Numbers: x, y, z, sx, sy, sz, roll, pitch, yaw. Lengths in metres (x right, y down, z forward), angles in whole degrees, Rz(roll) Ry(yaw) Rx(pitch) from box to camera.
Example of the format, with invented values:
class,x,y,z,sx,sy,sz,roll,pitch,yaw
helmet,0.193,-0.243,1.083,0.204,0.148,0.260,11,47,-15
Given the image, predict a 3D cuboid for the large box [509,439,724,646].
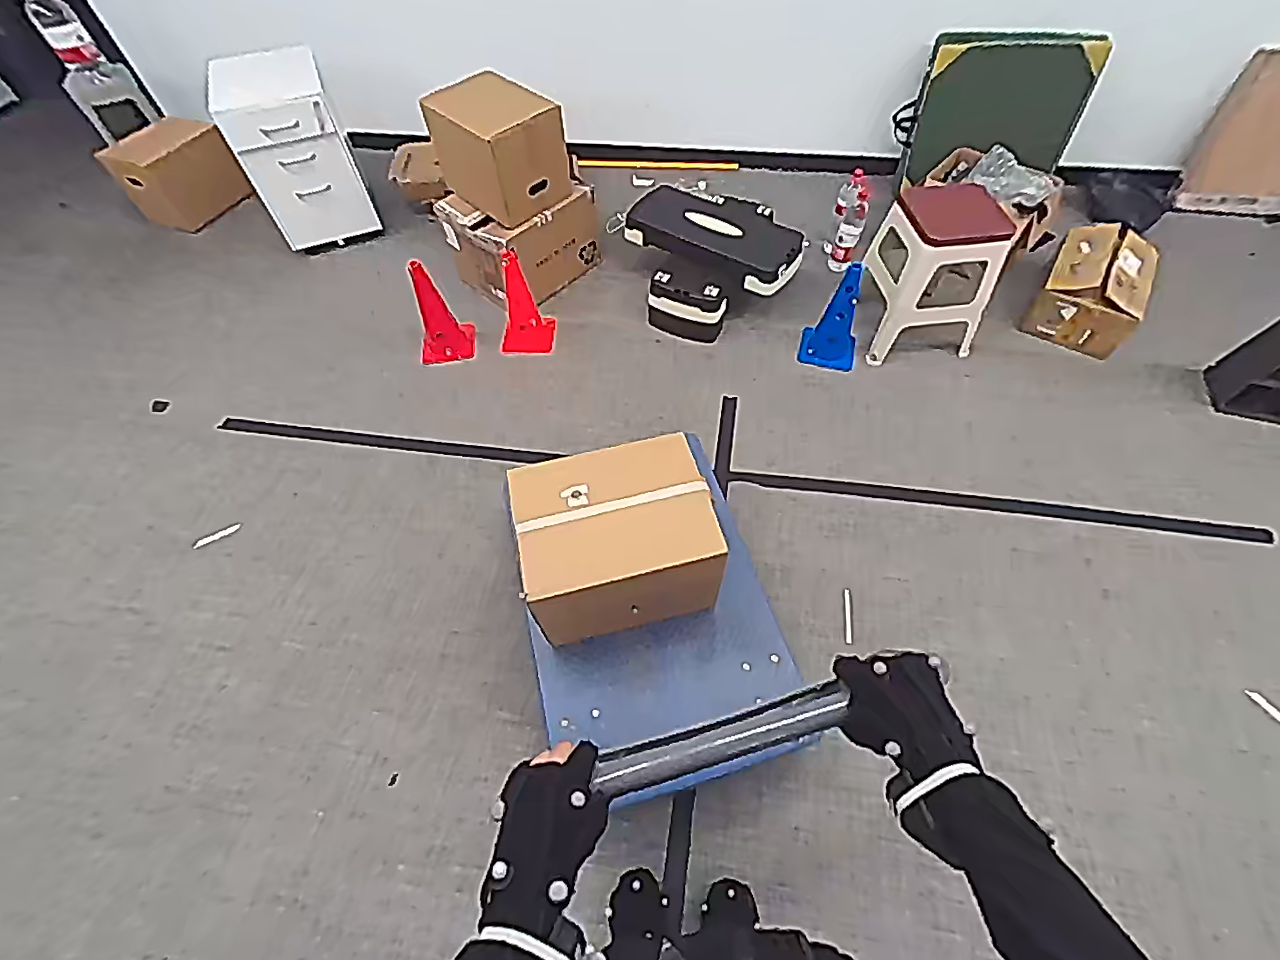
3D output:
class,x,y,z,sx,sy,sz,roll,pitch,yaw
large box,-0.053,0.153,1.258,0.408,0.320,0.320,-14,58,-6
